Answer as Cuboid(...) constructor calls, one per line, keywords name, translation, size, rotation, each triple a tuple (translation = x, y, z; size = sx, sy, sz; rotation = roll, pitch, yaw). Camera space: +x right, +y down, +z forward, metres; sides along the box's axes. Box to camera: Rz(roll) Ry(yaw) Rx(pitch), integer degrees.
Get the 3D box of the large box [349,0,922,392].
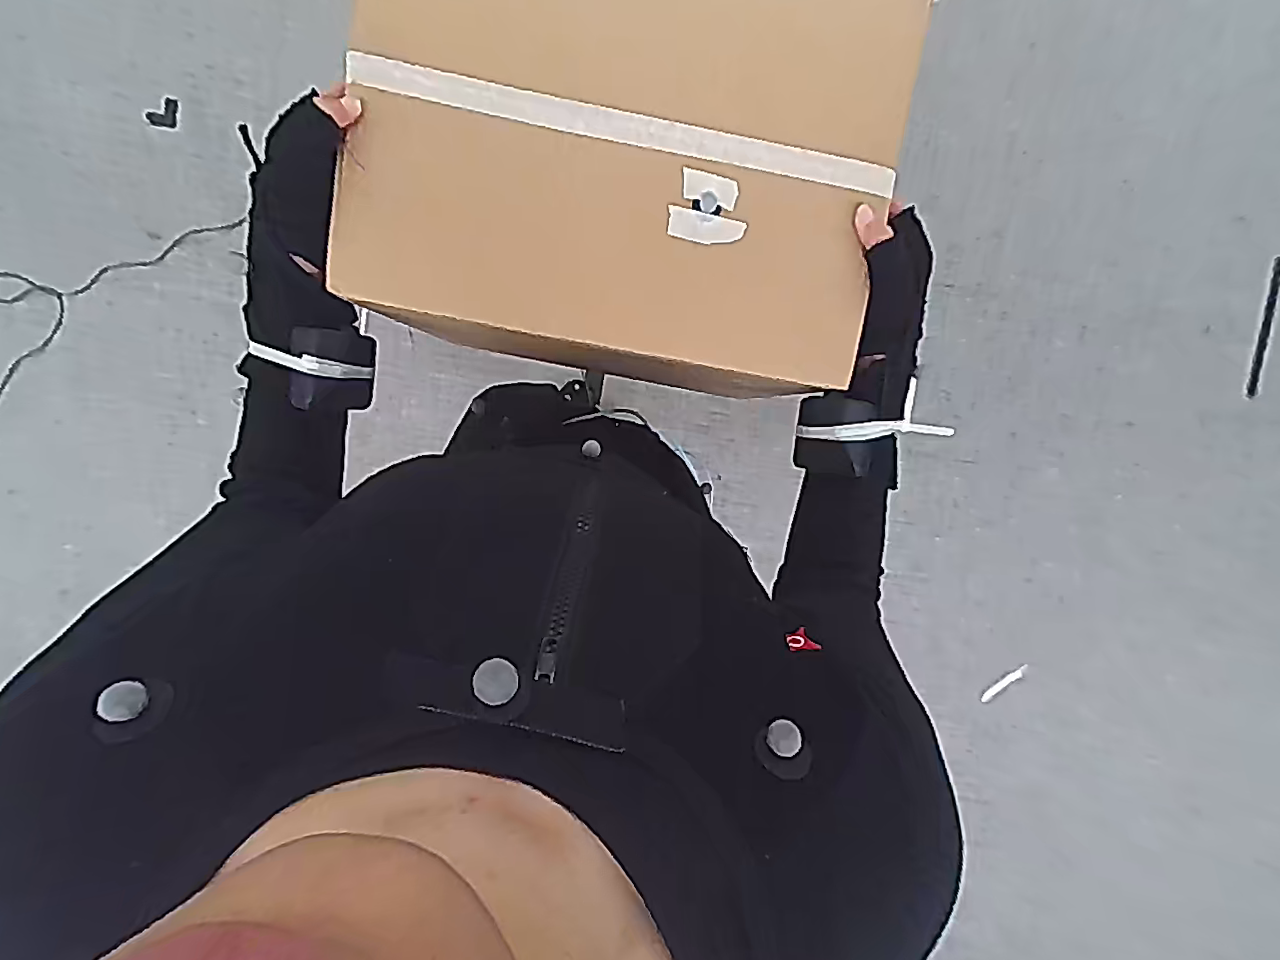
Cuboid(name="large box", translation=(-0.015, -0.278, 0.556), size=(0.408, 0.320, 0.320), rotation=(9, 98, -5))
